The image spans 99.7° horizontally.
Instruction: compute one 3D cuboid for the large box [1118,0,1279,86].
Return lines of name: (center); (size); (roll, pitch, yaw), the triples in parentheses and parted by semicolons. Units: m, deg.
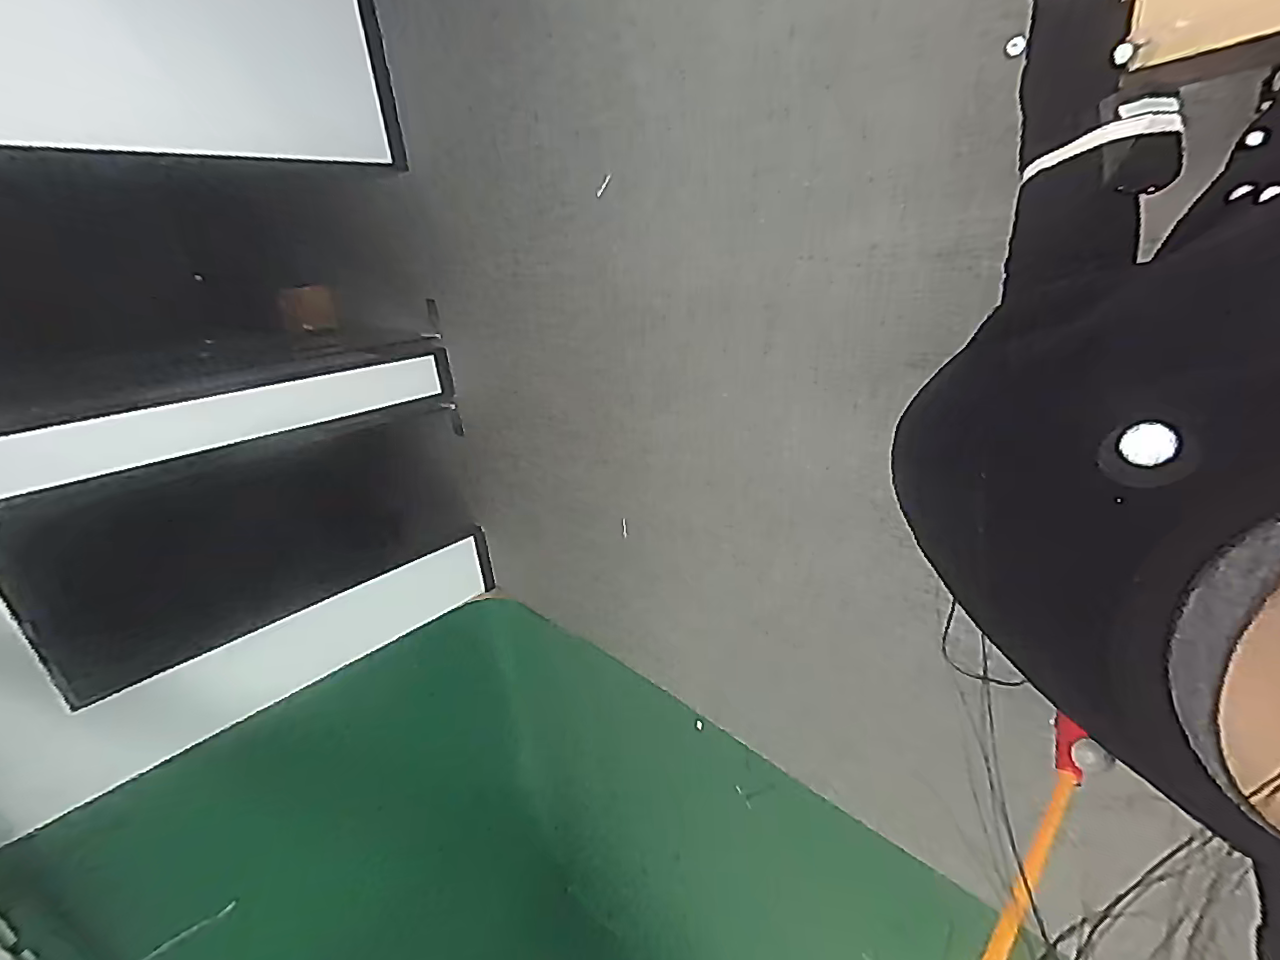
large box: (0.570, -0.486, 0.317); (0.408, 0.320, 0.320); (7, 119, 37)
